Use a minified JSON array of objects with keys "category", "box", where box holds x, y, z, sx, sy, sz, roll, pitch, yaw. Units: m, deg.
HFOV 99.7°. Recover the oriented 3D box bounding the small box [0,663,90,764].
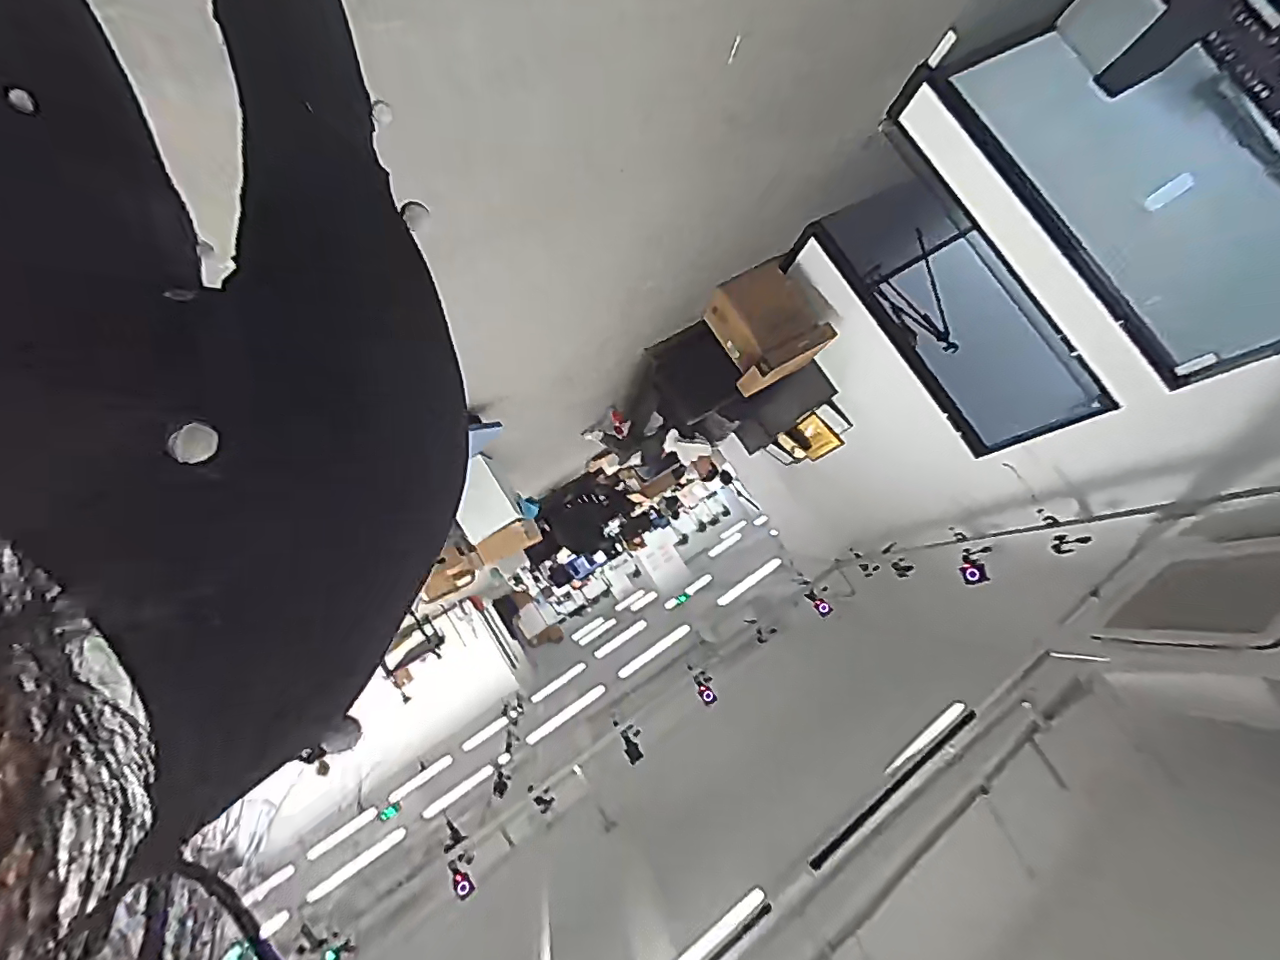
[{"category":"small box","box":[-1.518,0.566,1.304,0.168,0.176,0.179,-31,174,-15]}]
